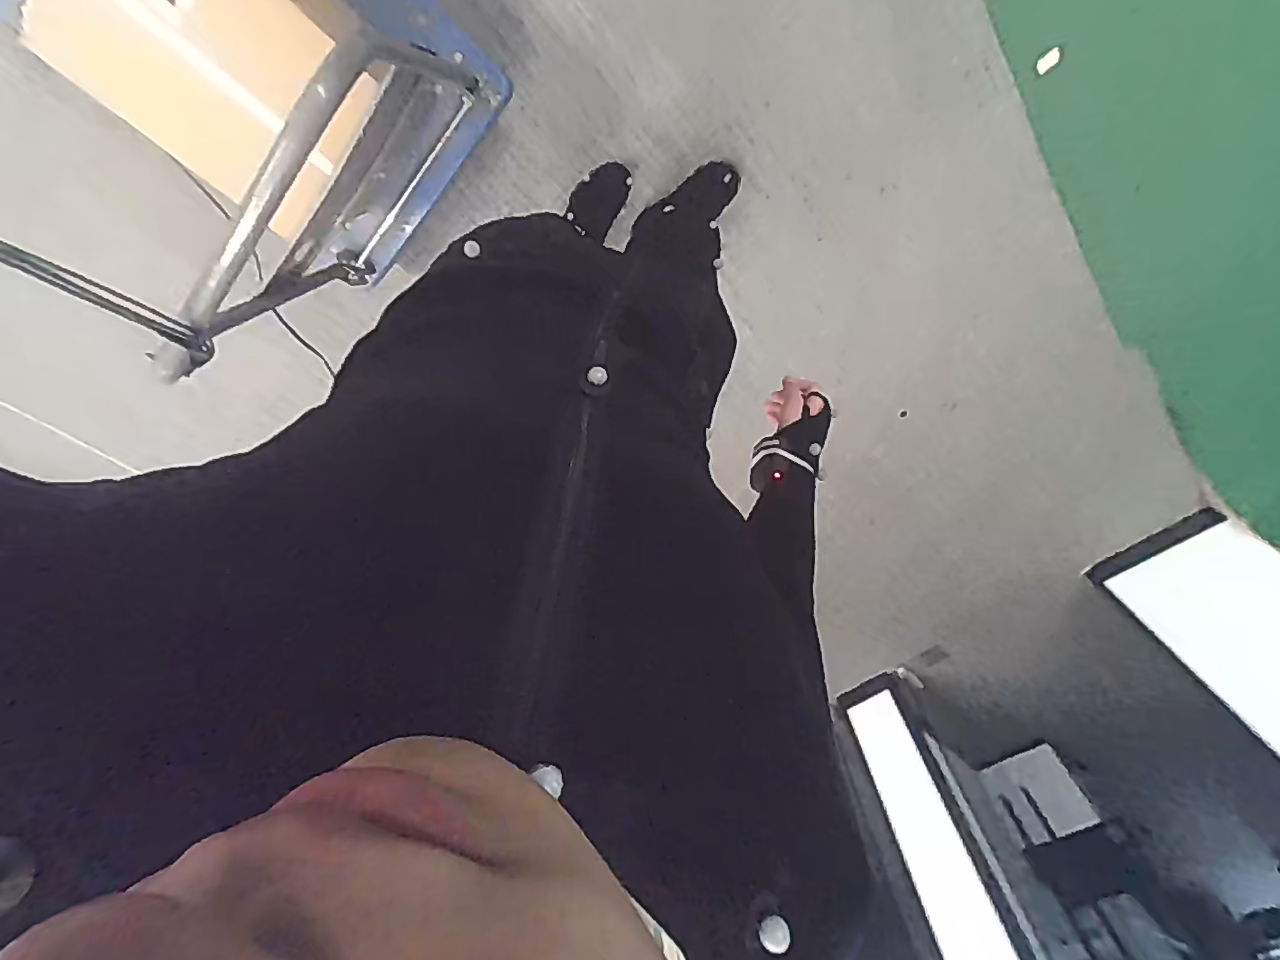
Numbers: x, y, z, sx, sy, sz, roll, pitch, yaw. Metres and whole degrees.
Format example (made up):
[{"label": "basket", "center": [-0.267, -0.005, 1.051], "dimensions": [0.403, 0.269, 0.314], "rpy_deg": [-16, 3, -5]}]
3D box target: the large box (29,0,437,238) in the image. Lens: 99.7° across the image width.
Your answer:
[{"label": "large box", "center": [-0.632, -0.700, 0.915], "dimensions": [0.408, 0.320, 0.320], "rpy_deg": [38, 115, -25]}]
